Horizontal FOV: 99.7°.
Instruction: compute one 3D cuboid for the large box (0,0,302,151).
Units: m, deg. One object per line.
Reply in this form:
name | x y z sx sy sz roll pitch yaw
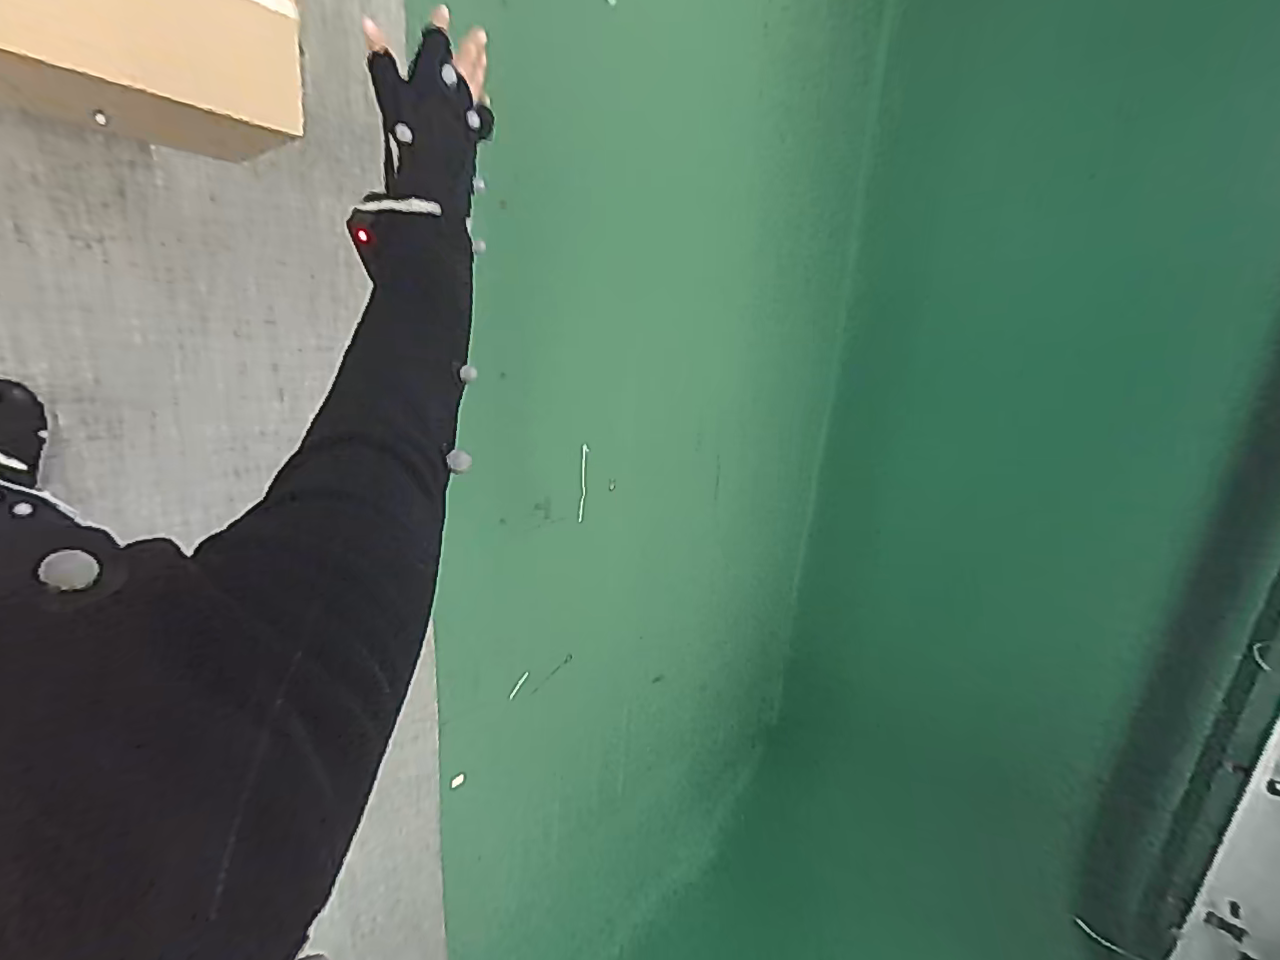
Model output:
large box | -0.737 -0.676 0.716 0.408 0.320 0.320 -13 113 -49
